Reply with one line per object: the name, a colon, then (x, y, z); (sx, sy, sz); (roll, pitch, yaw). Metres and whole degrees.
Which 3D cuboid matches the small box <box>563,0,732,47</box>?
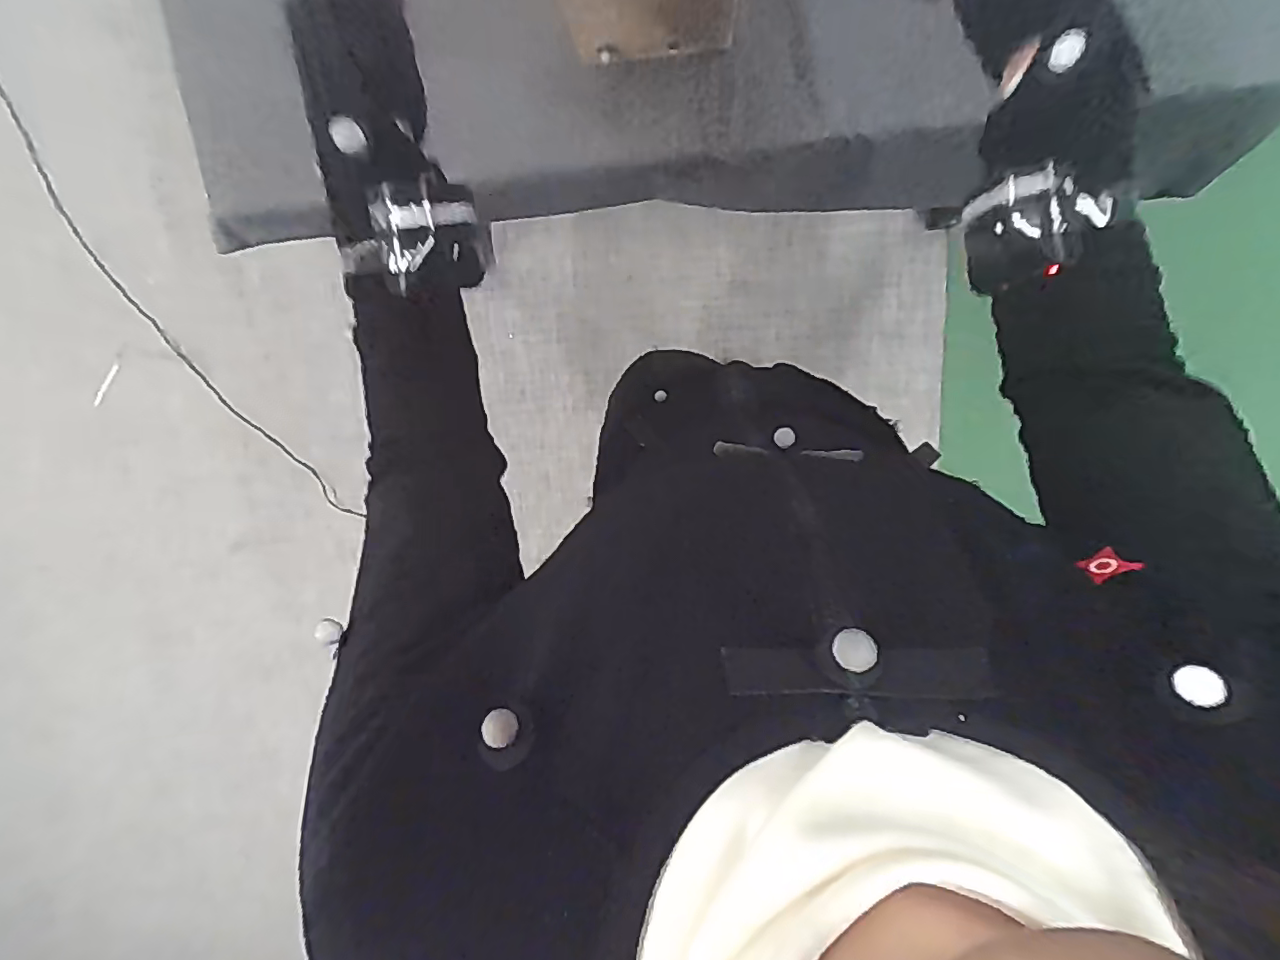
small box: (0.004, -0.535, 0.493); (0.168, 0.176, 0.179); (-2, 102, 5)
